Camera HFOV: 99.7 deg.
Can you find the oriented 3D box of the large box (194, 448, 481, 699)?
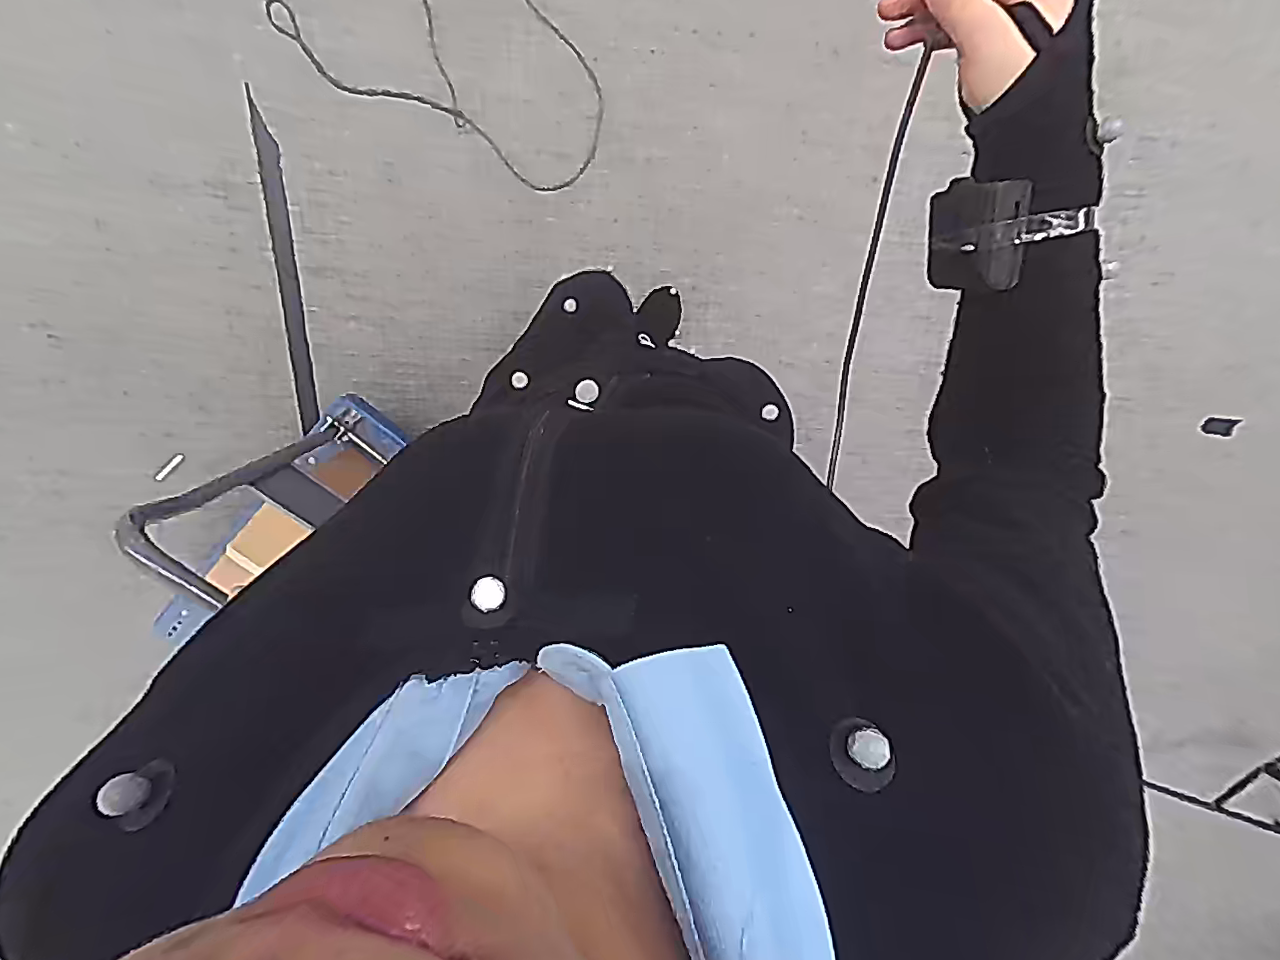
[{"bbox_3d":[-0.641,0.198,1.224,0.408,0.320,0.320,42,102,-15],"label":"large box"}]
